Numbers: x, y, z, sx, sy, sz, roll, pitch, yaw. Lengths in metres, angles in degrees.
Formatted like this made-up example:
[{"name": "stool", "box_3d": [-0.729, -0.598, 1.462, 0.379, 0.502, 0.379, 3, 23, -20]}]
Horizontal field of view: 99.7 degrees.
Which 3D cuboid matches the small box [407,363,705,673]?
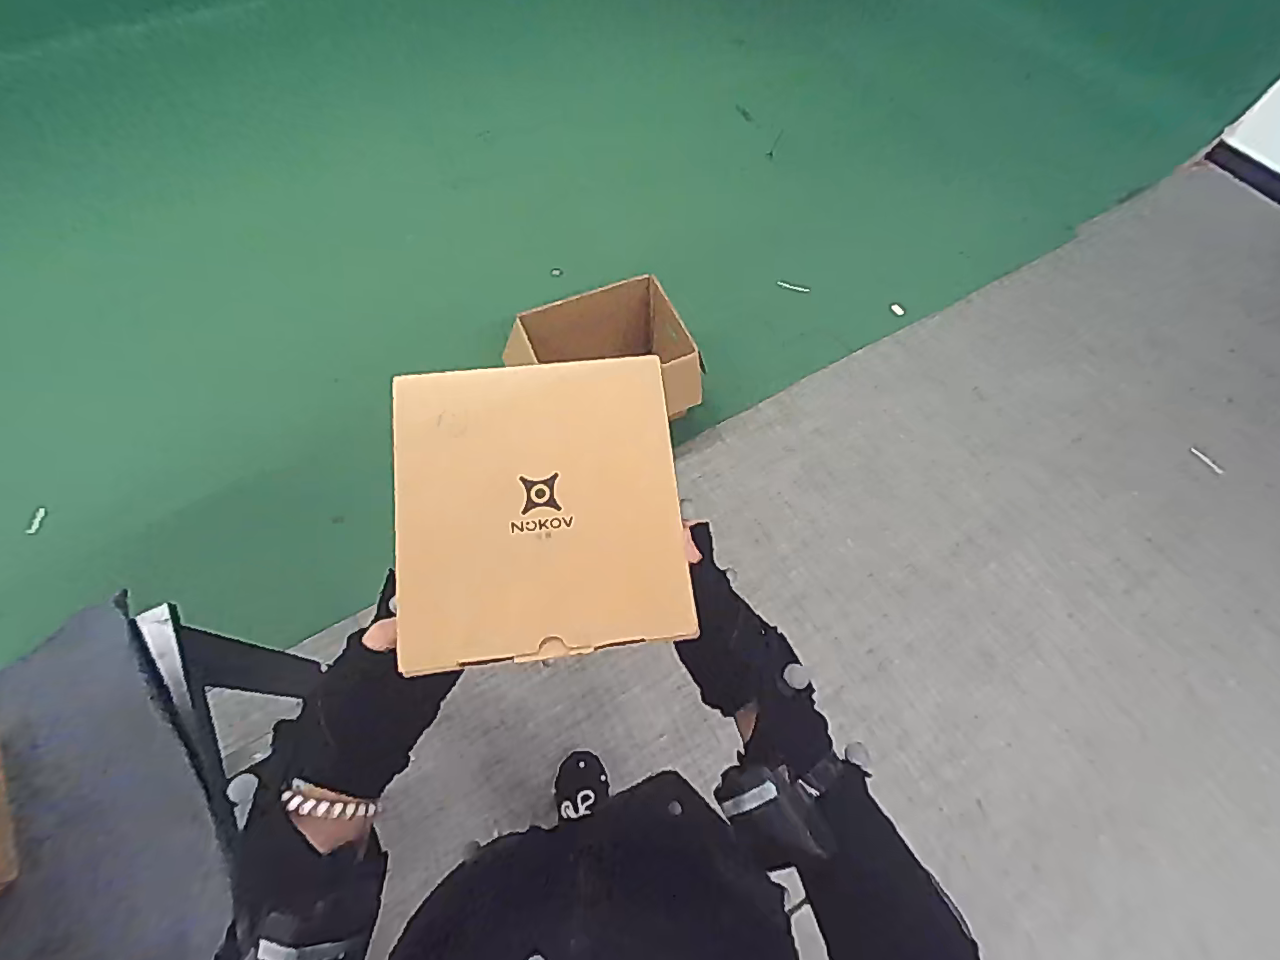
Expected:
[{"name": "small box", "box_3d": [-0.060, 0.034, 0.396, 0.168, 0.176, 0.179, -6, 77, -6]}]
